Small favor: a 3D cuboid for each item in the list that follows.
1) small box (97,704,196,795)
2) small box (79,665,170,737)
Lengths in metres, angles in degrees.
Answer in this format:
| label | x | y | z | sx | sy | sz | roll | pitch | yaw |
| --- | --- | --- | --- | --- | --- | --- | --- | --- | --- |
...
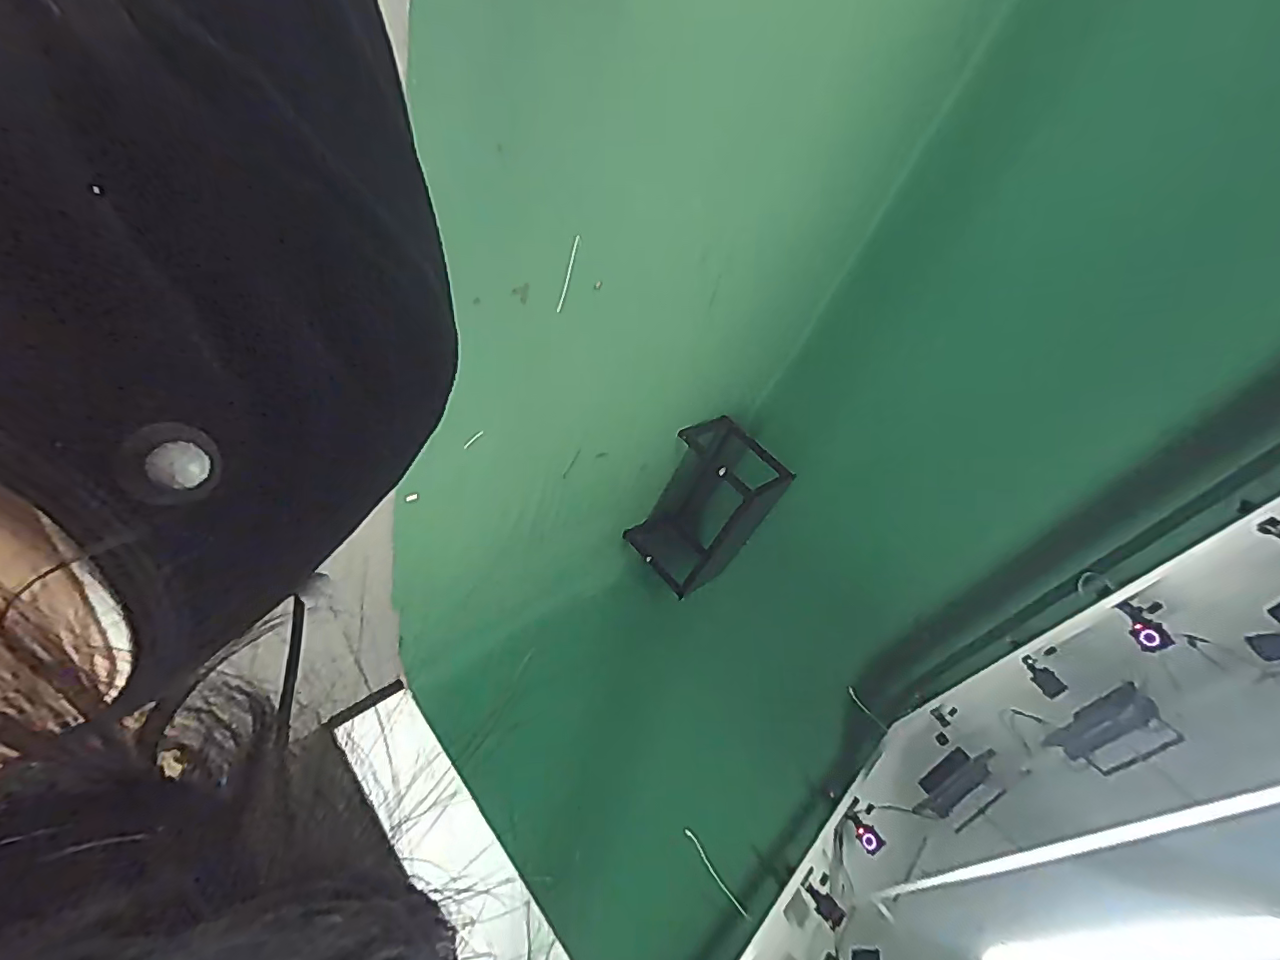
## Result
| label | x | y | z | sx | sy | sz | roll | pitch | yaw |
| --- | --- | --- | --- | --- | --- | --- | --- | --- | --- |
| small box | -1.557 | 0.844 | 1.707 | 0.179 | 0.176 | 0.168 | -25 | 152 | -39 |
| small box | -1.667 | 0.732 | 1.758 | 0.168 | 0.176 | 0.179 | -25 | 151 | -38 |
